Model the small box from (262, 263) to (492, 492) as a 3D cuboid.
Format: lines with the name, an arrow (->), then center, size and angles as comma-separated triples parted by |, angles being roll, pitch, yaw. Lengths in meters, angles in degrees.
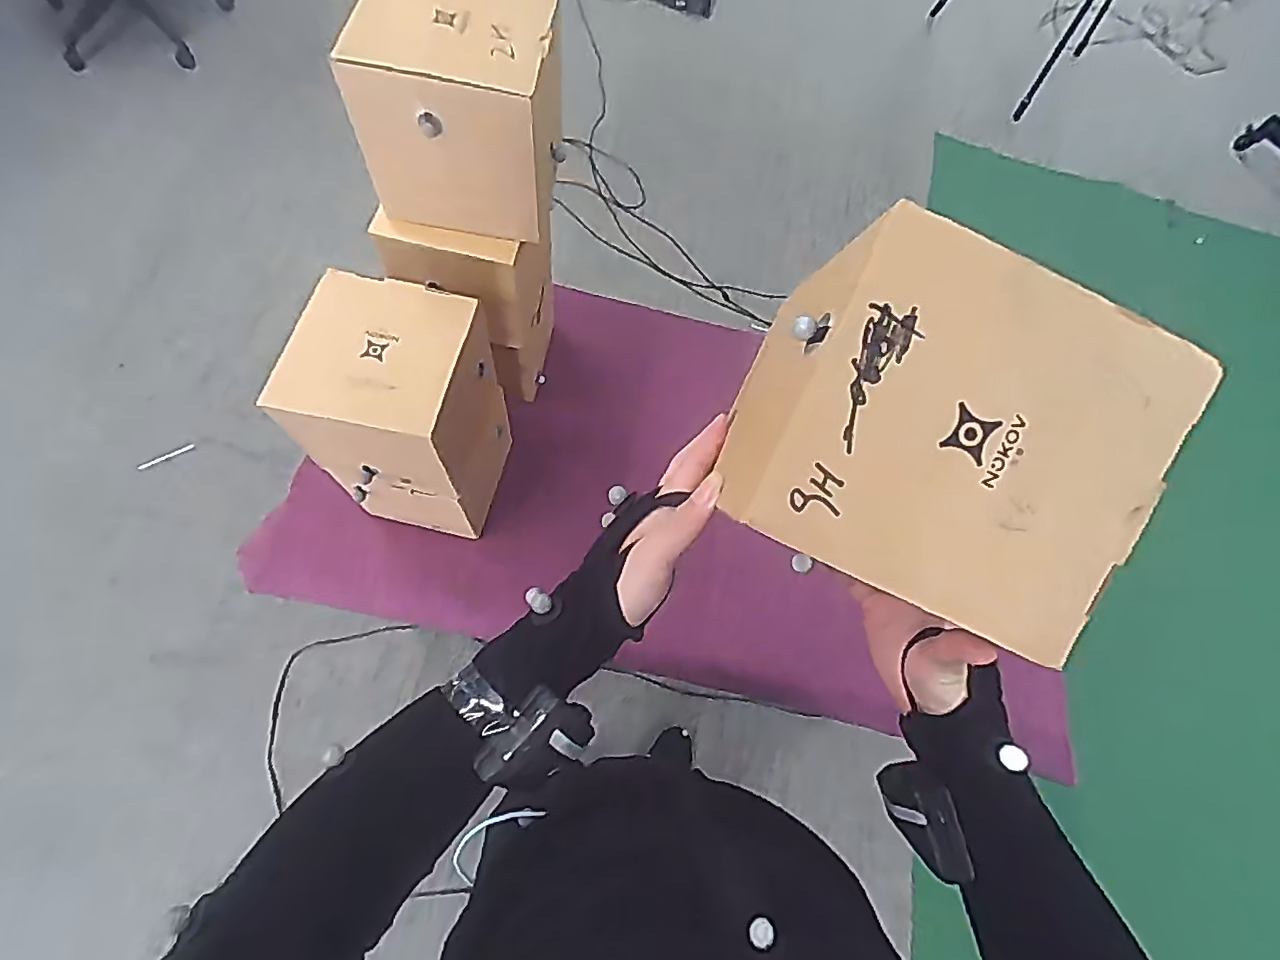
small box -> -0.276, -0.107, 0.619 | 0.168, 0.176, 0.179 | 12, 67, -3

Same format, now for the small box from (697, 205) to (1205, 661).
small box -> 0.155, -0.025, 0.336 | 0.179, 0.176, 0.168 | 26, 93, -5

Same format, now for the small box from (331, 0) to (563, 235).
small box -> -0.180, -0.390, 0.569 | 0.179, 0.176, 0.168 | 8, 68, -5

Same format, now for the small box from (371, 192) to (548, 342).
small box -> -0.218, -0.308, 0.710 | 0.168, 0.176, 0.179 | 11, 67, -4
